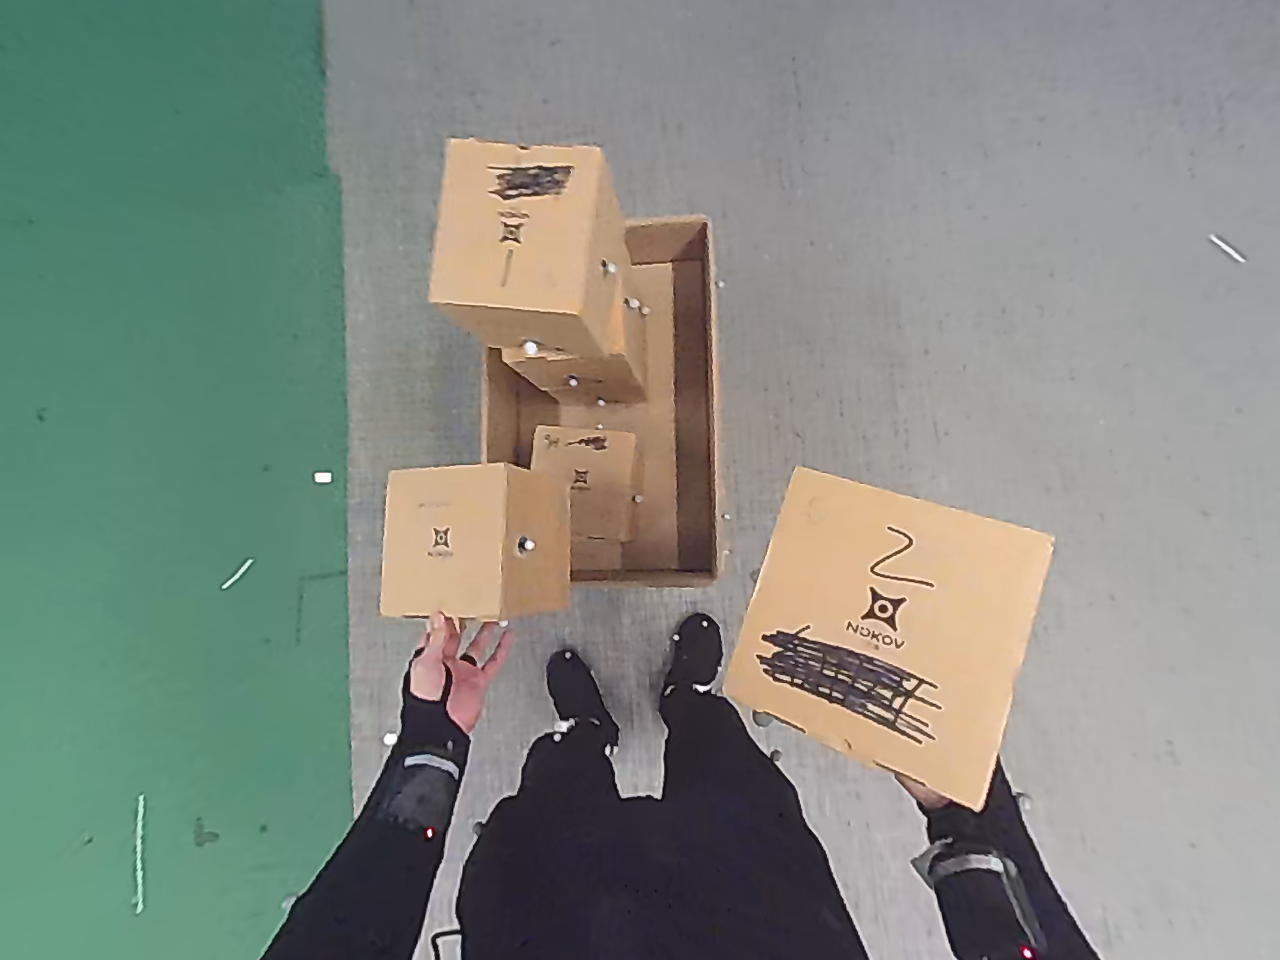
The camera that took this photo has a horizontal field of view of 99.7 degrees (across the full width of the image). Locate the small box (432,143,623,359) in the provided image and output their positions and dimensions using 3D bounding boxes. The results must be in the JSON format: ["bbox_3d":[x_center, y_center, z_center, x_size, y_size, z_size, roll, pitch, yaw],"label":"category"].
[{"bbox_3d":[-0.119,-0.258,0.641,0.168,0.176,0.179,7,88,7],"label":"small box"}]

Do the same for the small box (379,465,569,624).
[{"bbox_3d":[-0.201,0.082,0.691,0.168,0.176,0.179,-3,81,19],"label":"small box"}]

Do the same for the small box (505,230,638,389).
[{"bbox_3d":[-0.094,-0.243,0.803,0.168,0.176,0.179,-2,87,6],"label":"small box"}]

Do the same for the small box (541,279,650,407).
[{"bbox_3d":[-0.074,-0.235,0.963,0.168,0.176,0.179,-2,86,8],"label":"small box"}]
